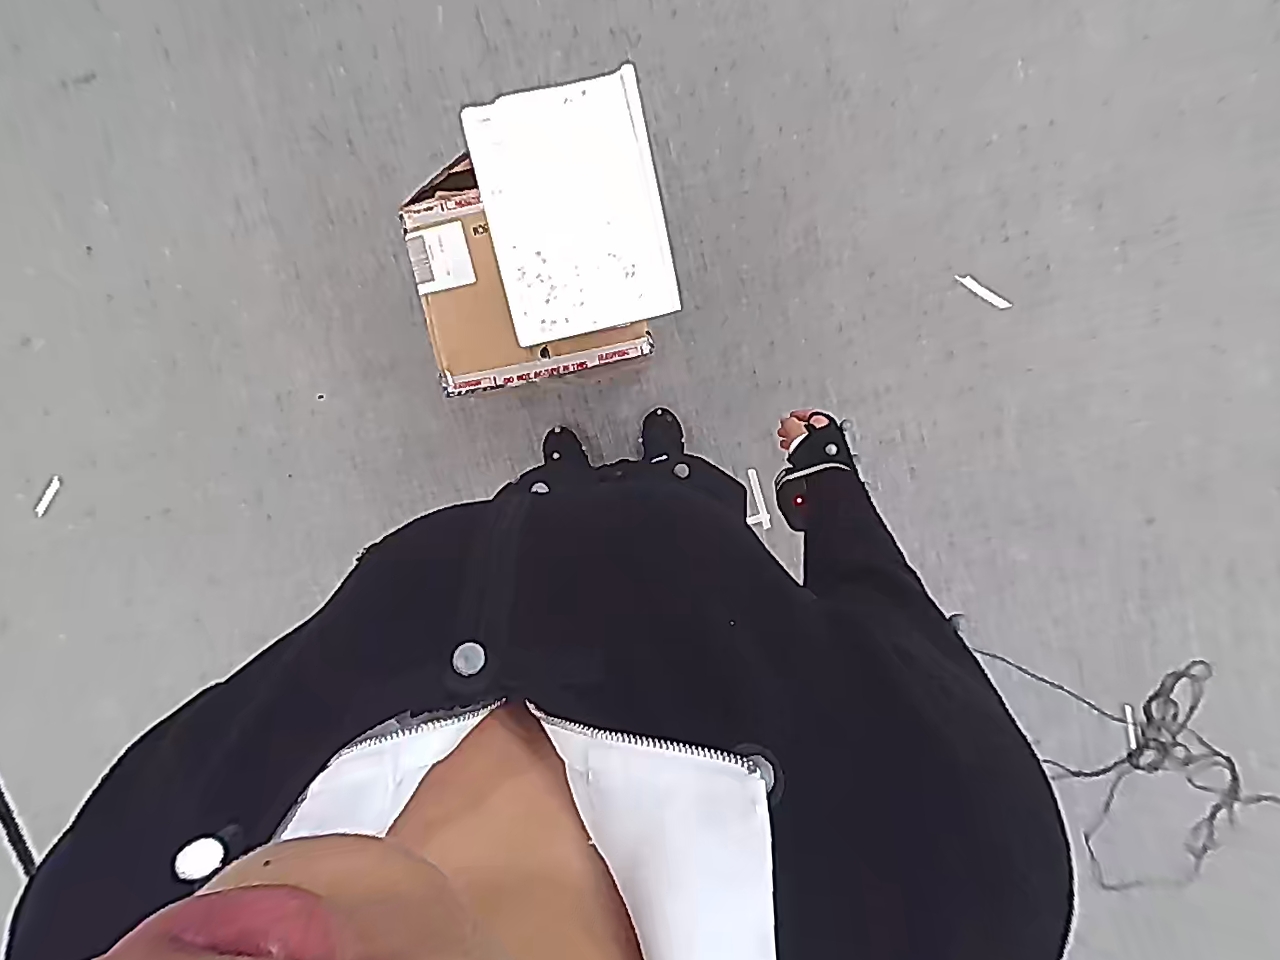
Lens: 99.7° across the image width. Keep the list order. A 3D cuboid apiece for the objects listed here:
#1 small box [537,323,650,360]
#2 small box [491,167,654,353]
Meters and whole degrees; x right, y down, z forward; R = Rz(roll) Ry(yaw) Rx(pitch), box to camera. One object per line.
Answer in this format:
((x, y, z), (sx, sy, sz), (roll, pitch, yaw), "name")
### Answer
((-0.092, -0.301, 0.883), (0.179, 0.176, 0.168), (-16, 99, 1), "small box")
((-0.083, -0.278, 0.721), (0.168, 0.176, 0.179), (-13, 100, 0), "small box")
